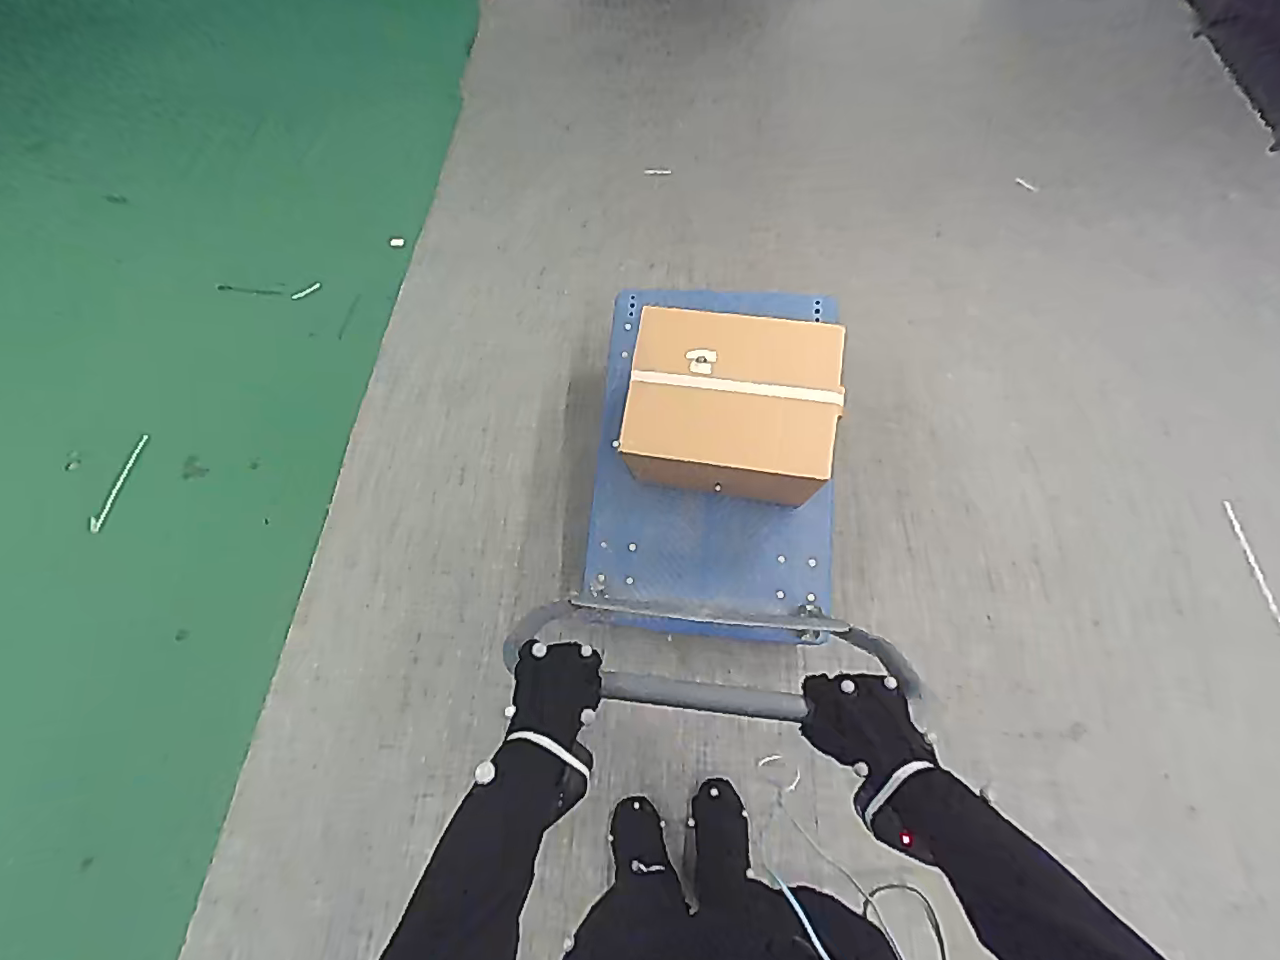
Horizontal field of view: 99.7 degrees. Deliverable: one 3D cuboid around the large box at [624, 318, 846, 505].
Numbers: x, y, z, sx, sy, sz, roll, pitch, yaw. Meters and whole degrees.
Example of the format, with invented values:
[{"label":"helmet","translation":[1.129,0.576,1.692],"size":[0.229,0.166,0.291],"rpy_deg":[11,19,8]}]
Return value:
[{"label":"large box","translation":[0.205,-0.134,1.189],"size":[0.408,0.320,0.320],"rpy_deg":[7,79,10]}]
